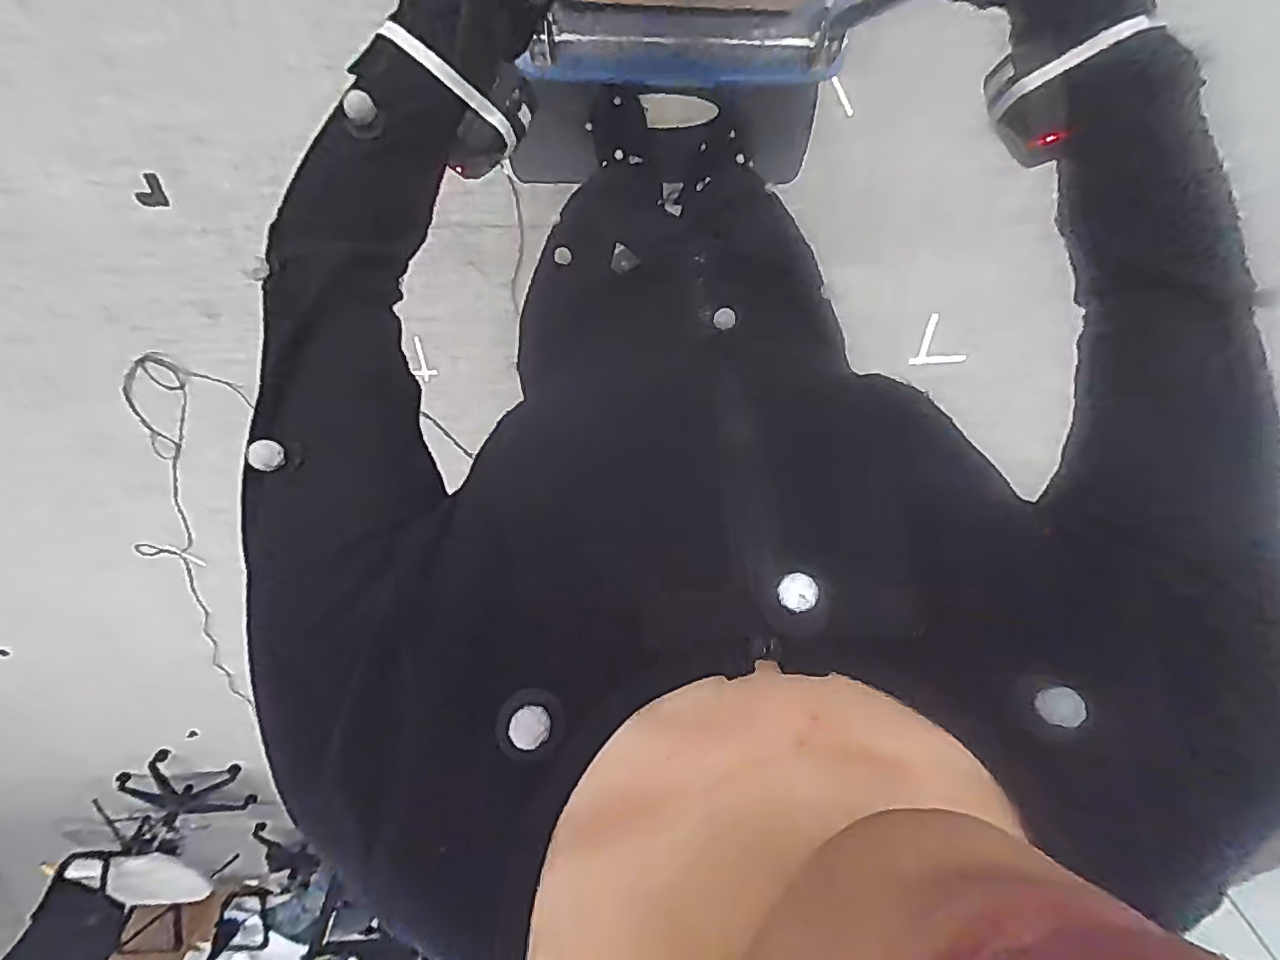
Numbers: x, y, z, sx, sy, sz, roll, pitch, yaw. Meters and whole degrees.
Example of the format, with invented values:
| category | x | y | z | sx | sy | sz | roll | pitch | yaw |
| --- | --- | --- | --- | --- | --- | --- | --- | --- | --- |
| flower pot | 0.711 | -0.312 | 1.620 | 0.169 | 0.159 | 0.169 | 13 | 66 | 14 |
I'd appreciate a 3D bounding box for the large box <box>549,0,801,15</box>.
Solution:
| category | x | y | z | sx | sy | sz | roll | pitch | yaw |
| --- | --- | --- | --- | --- | --- | --- | --- | --- | --- |
| large box | 0.061 | -0.830 | 0.688 | 0.408 | 0.320 | 0.320 | -2 | 120 | -4 |
